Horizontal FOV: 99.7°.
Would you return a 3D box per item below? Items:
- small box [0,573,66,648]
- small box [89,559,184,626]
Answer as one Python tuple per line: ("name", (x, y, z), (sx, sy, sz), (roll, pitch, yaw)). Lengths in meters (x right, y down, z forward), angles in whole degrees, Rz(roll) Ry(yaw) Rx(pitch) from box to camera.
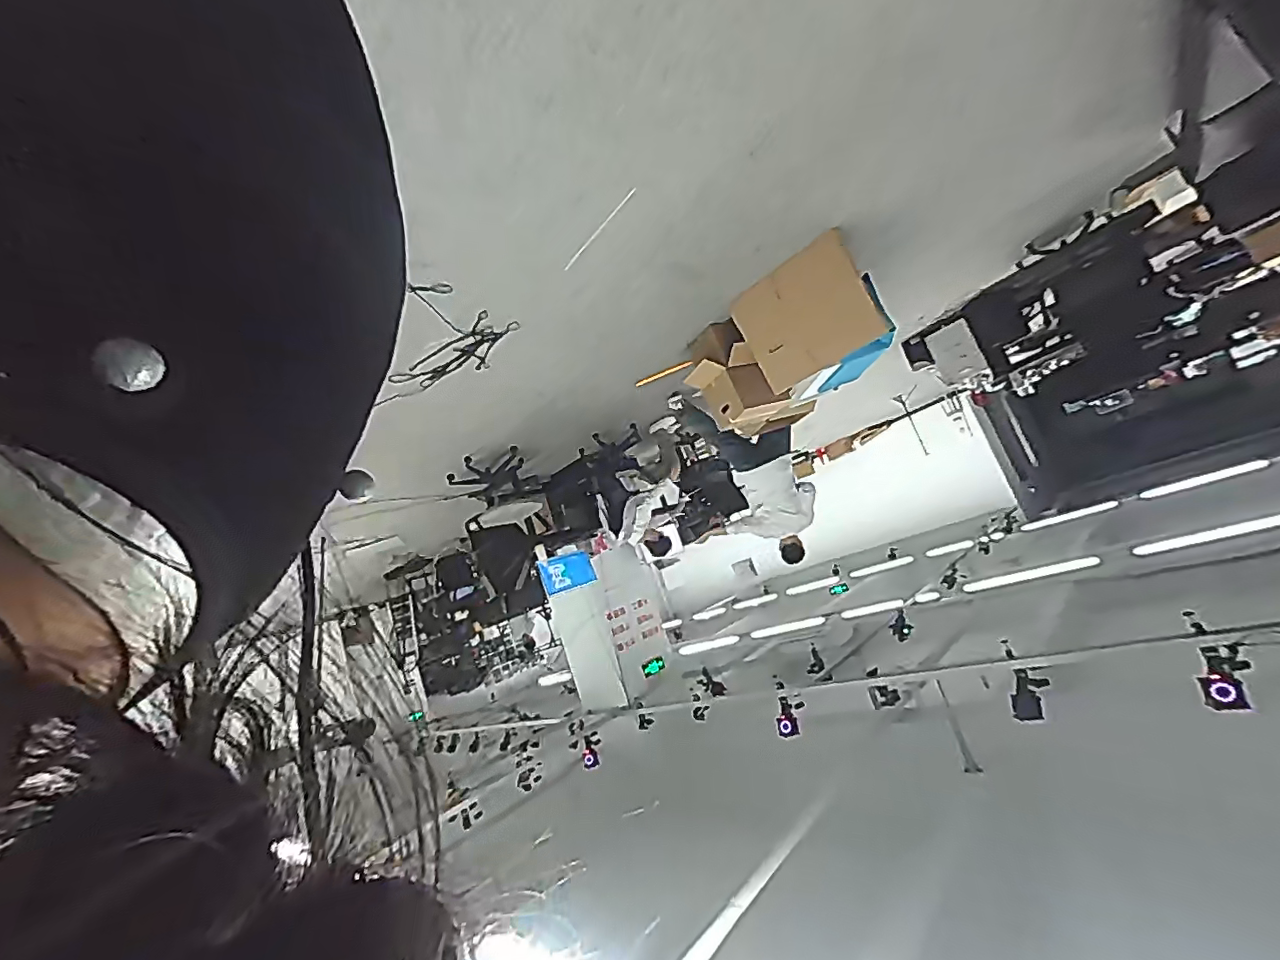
("small box", (-1.781, 0.371, 1.529), (0.179, 0.176, 0.168), (-25, 170, 28))
("small box", (-1.646, 0.368, 1.773), (0.168, 0.176, 0.179), (-17, 169, -22))
